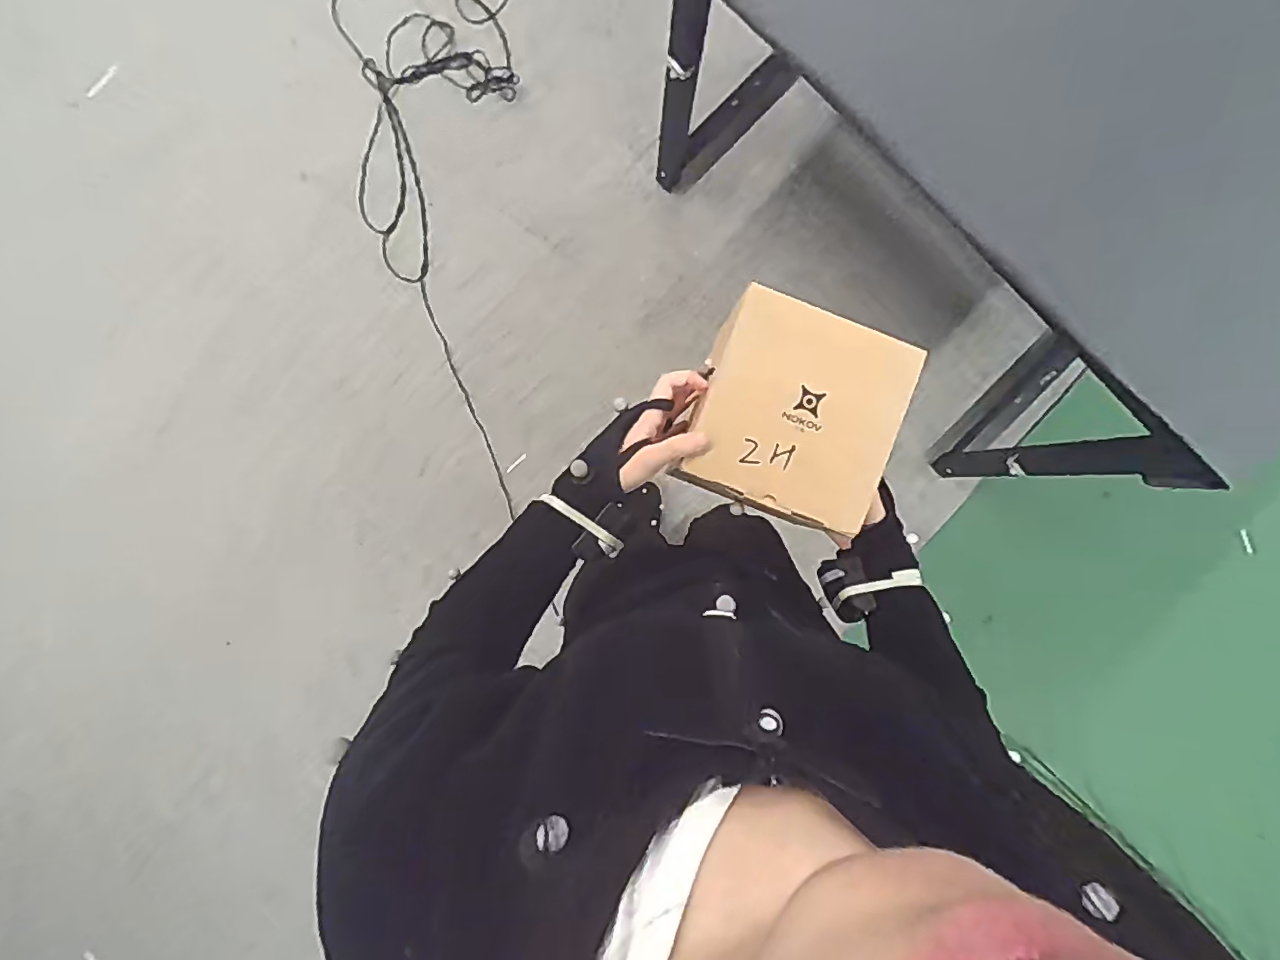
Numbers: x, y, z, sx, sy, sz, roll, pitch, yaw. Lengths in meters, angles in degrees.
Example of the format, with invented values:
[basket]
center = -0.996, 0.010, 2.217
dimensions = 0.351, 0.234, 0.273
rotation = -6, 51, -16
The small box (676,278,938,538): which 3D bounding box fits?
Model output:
[small box]
center = 0.144, -0.059, 0.532
dimensions = 0.168, 0.176, 0.179
rotation = 22, 87, -2
